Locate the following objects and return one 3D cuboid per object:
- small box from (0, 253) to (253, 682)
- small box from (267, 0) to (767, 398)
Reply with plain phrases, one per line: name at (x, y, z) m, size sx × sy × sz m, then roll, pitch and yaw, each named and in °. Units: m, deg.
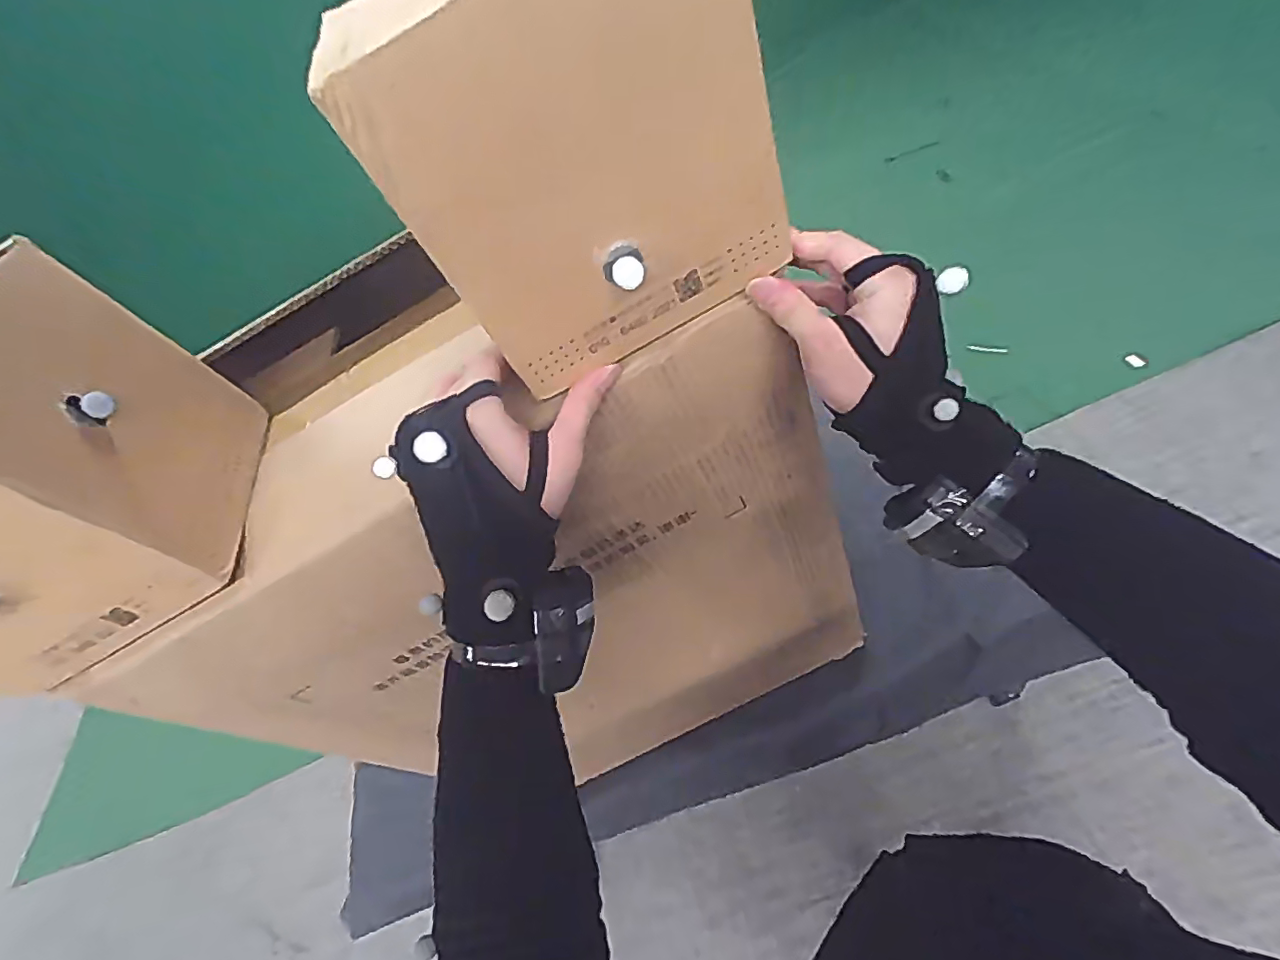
small box at (-0.383, 0.005, 0.334) m, size 0.168 × 0.176 × 0.179 m, roll -29°, pitch 50°, yaw 7°
small box at (-0.052, -0.178, 0.293) m, size 0.168 × 0.176 × 0.179 m, roll -29°, pitch 50°, yaw 5°
